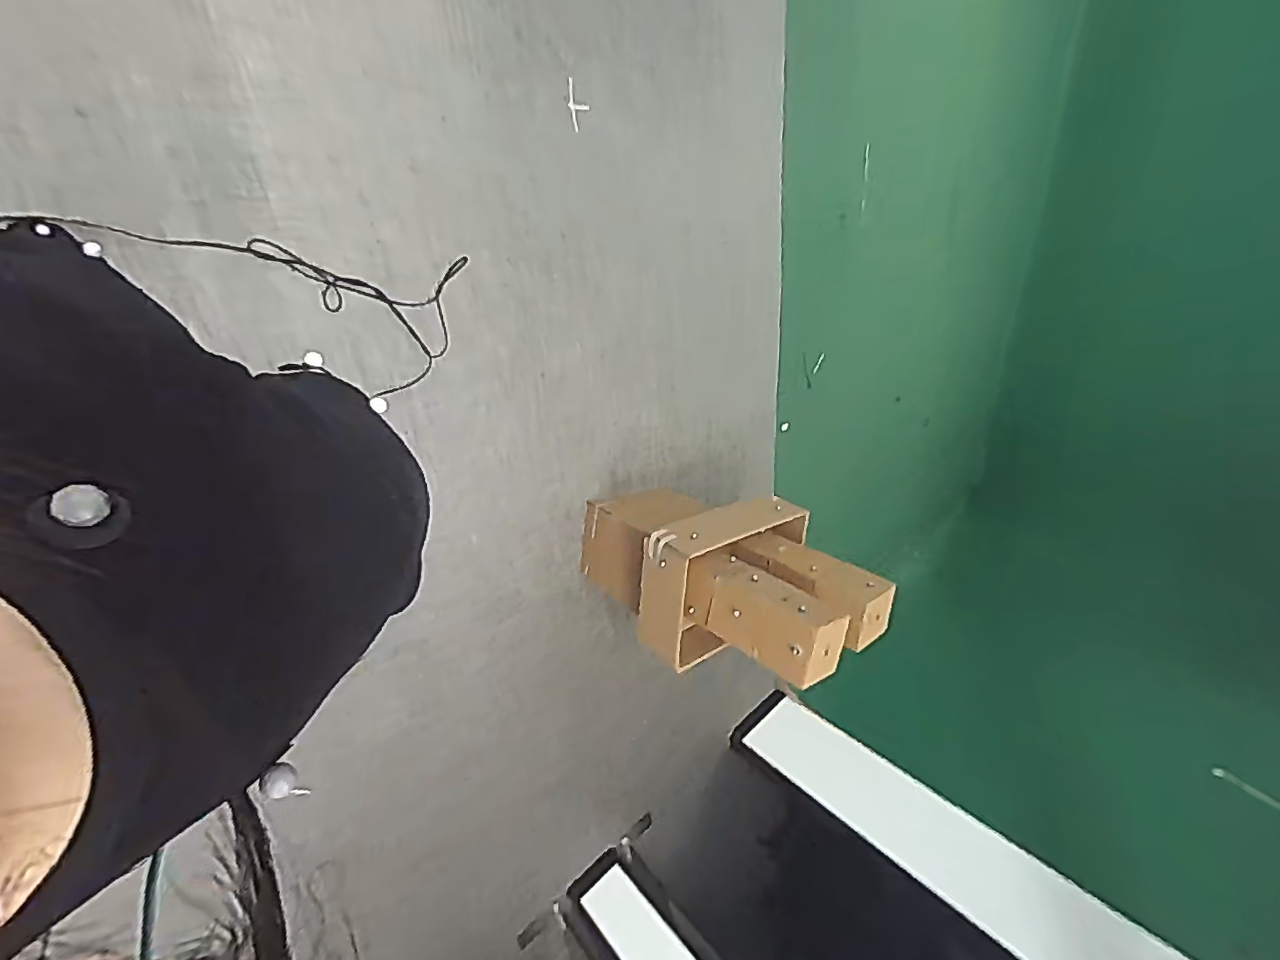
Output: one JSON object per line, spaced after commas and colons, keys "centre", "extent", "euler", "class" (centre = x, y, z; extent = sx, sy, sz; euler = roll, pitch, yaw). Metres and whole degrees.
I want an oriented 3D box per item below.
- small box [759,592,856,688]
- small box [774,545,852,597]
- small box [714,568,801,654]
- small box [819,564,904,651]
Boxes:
{"centre": [0.440, 0.412, 1.439], "extent": [0.168, 0.176, 0.179], "euler": [-4, 110, -41], "class": "small box"}
{"centre": [0.548, 0.325, 1.735], "extent": [0.179, 0.176, 0.168], "euler": [-14, 115, -36], "class": "small box"}
{"centre": [0.334, 0.365, 1.555], "extent": [0.168, 0.176, 0.179], "euler": [-5, 110, -41], "class": "small box"}
{"centre": [0.651, 0.371, 1.614], "extent": [0.179, 0.176, 0.168], "euler": [-14, 115, -36], "class": "small box"}
